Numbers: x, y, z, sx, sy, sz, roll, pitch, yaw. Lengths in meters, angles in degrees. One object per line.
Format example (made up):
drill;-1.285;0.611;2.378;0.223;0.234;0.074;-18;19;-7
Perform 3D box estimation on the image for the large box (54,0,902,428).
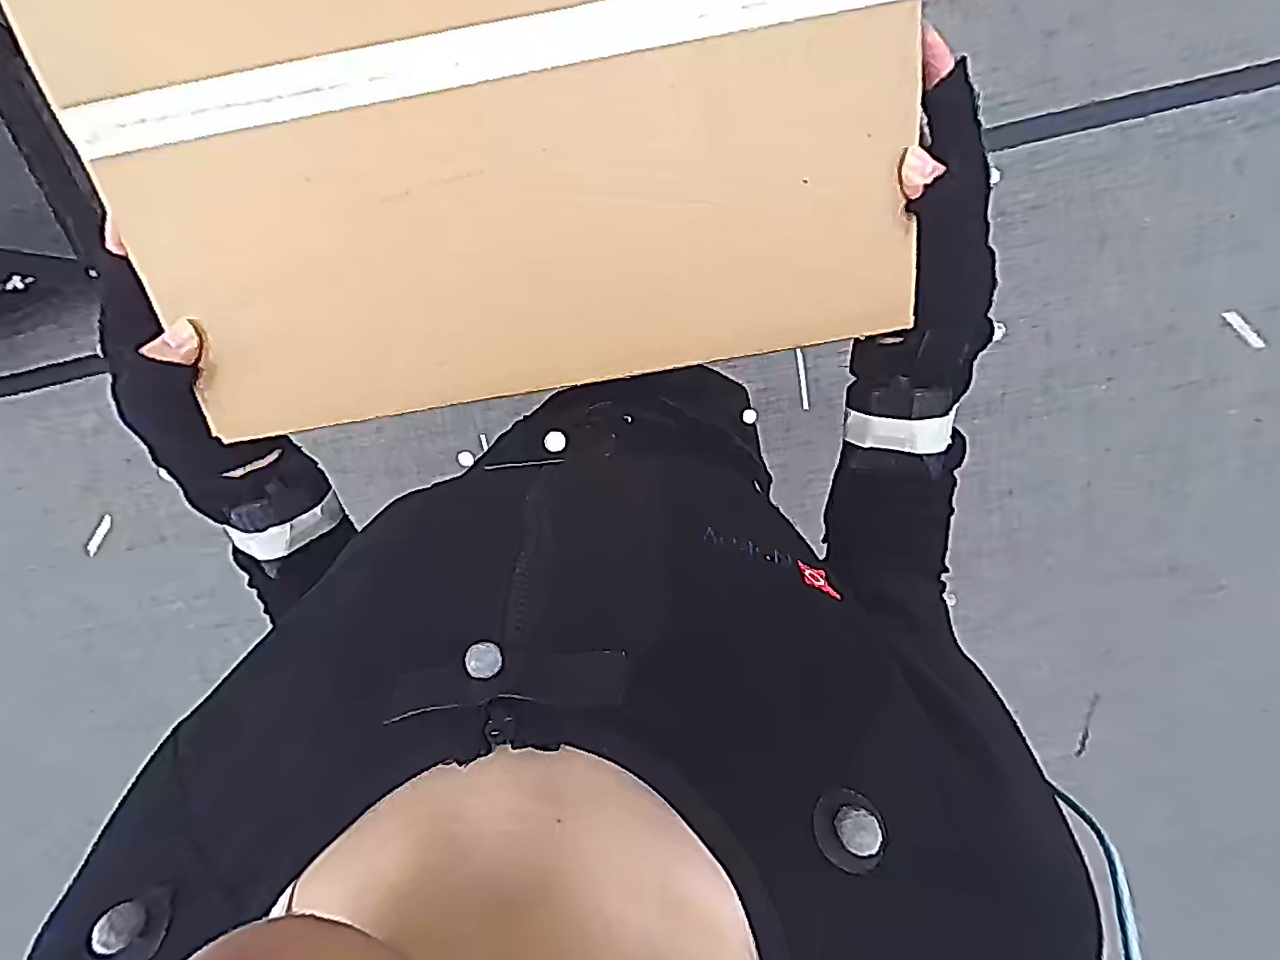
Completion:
large box;-0.075;-0.257;0.405;0.408;0.320;0.320;-9;112;2
